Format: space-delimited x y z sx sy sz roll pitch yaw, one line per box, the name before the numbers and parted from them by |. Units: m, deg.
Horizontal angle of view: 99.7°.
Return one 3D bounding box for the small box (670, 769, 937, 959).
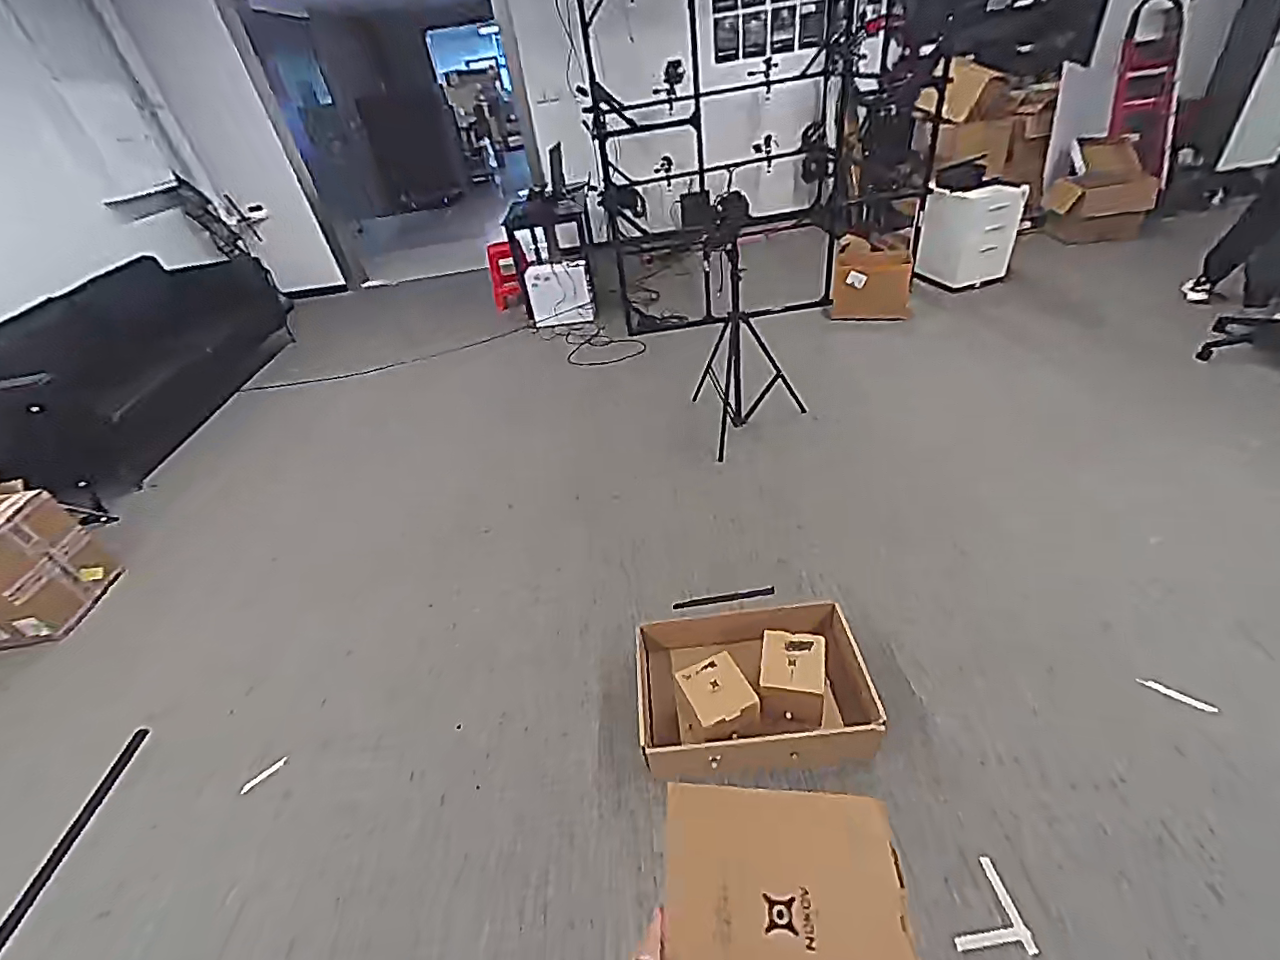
small box | 0.114 0.357 0.432 0.179 0.176 0.168 1 40 5
